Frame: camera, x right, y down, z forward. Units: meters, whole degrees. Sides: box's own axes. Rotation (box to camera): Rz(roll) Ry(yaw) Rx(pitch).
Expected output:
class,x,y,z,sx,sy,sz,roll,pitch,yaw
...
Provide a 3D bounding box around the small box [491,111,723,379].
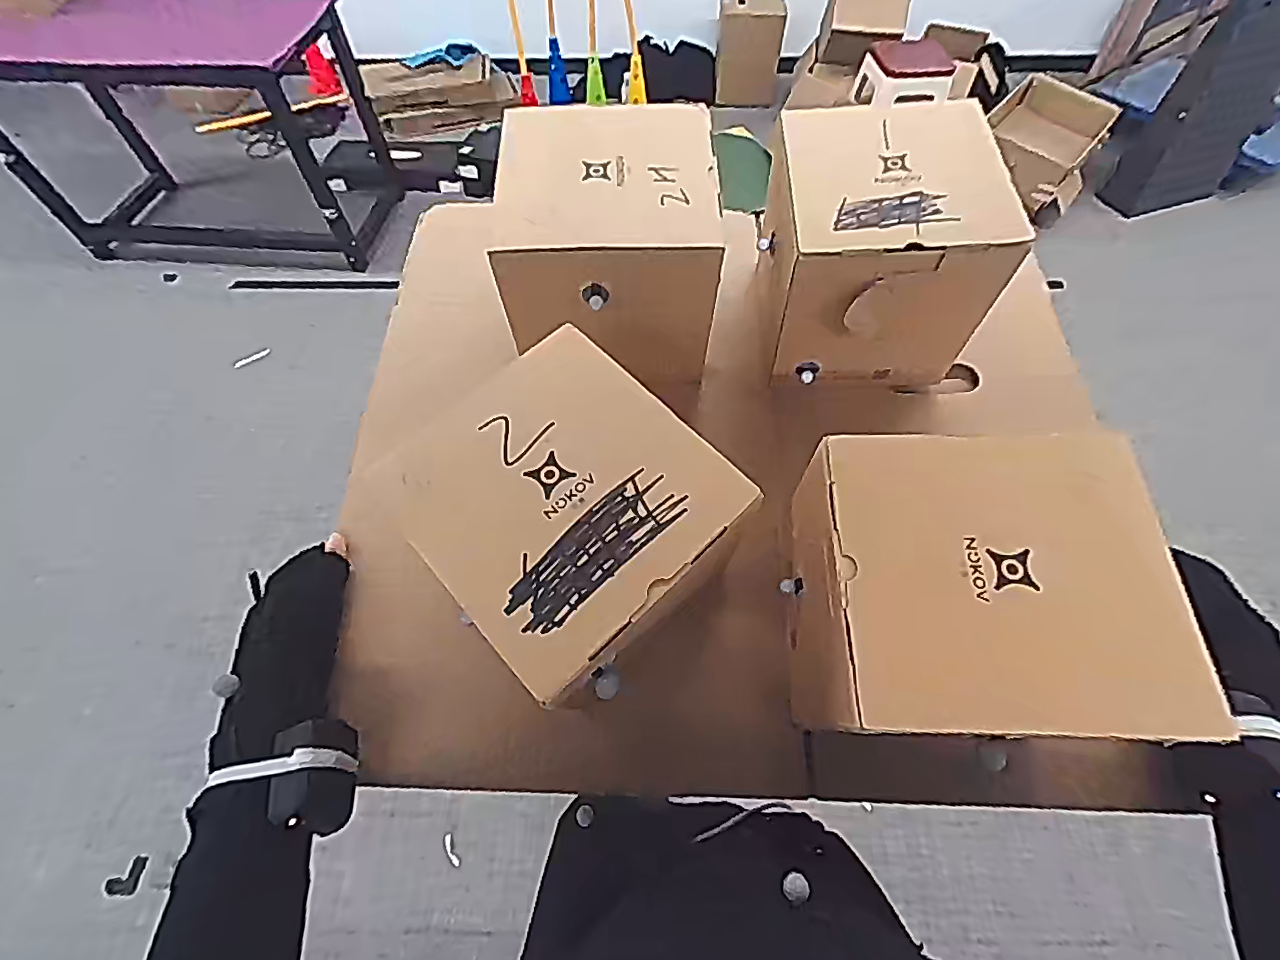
class,x,y,z,sx,sy,sz,roll,pitch,yaw
small box,-0.024,-0.207,0.504,0.179,0.176,0.168,0,66,-1
